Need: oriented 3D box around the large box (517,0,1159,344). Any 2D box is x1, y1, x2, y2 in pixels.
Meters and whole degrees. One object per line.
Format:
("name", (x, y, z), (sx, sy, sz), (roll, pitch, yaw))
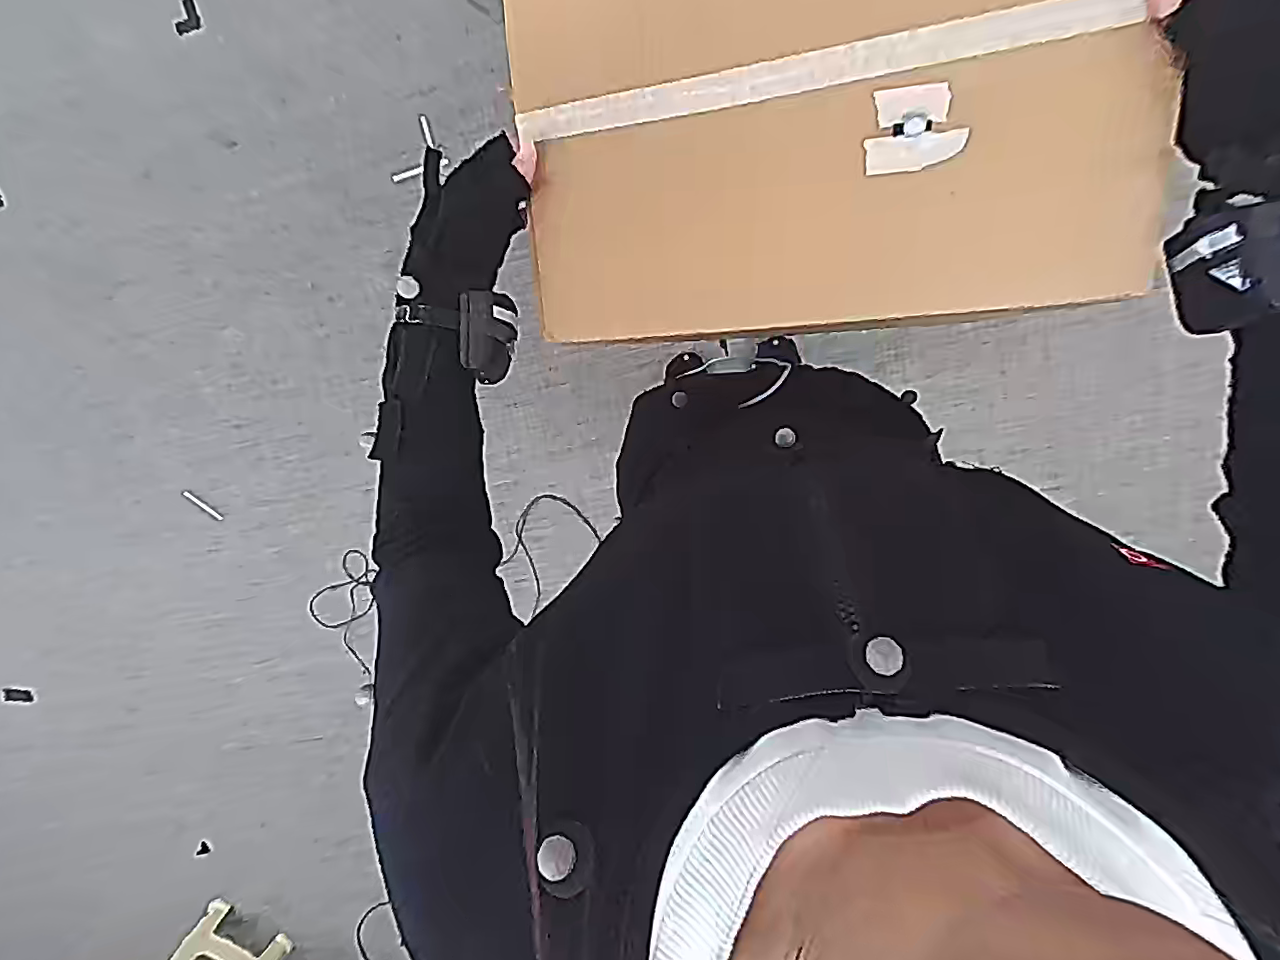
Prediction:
("large box", (0.144, -0.303, 0.503), (0.408, 0.320, 0.320), (-1, 104, 15))
